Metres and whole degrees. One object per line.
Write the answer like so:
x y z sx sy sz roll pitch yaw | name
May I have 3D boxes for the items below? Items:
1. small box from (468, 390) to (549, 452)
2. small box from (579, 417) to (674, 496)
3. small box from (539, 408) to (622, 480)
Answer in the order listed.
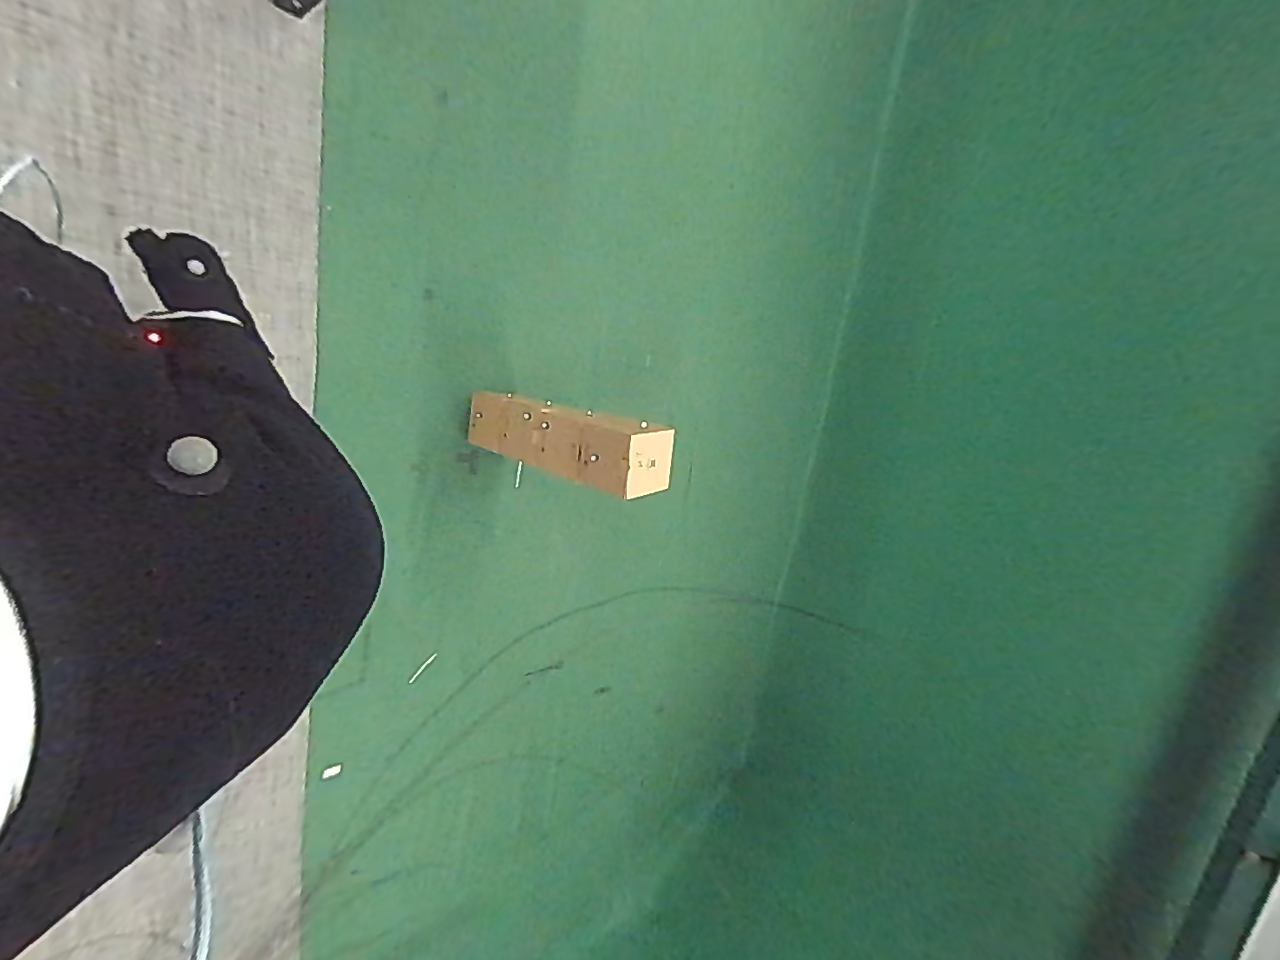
-0.419 -0.187 1.713 0.179 0.176 0.168 -4 107 -49 | small box
-0.037 -0.069 1.423 0.179 0.176 0.168 -13 114 -47 | small box
-0.166 -0.107 1.518 0.179 0.176 0.168 -12 114 -48 | small box
